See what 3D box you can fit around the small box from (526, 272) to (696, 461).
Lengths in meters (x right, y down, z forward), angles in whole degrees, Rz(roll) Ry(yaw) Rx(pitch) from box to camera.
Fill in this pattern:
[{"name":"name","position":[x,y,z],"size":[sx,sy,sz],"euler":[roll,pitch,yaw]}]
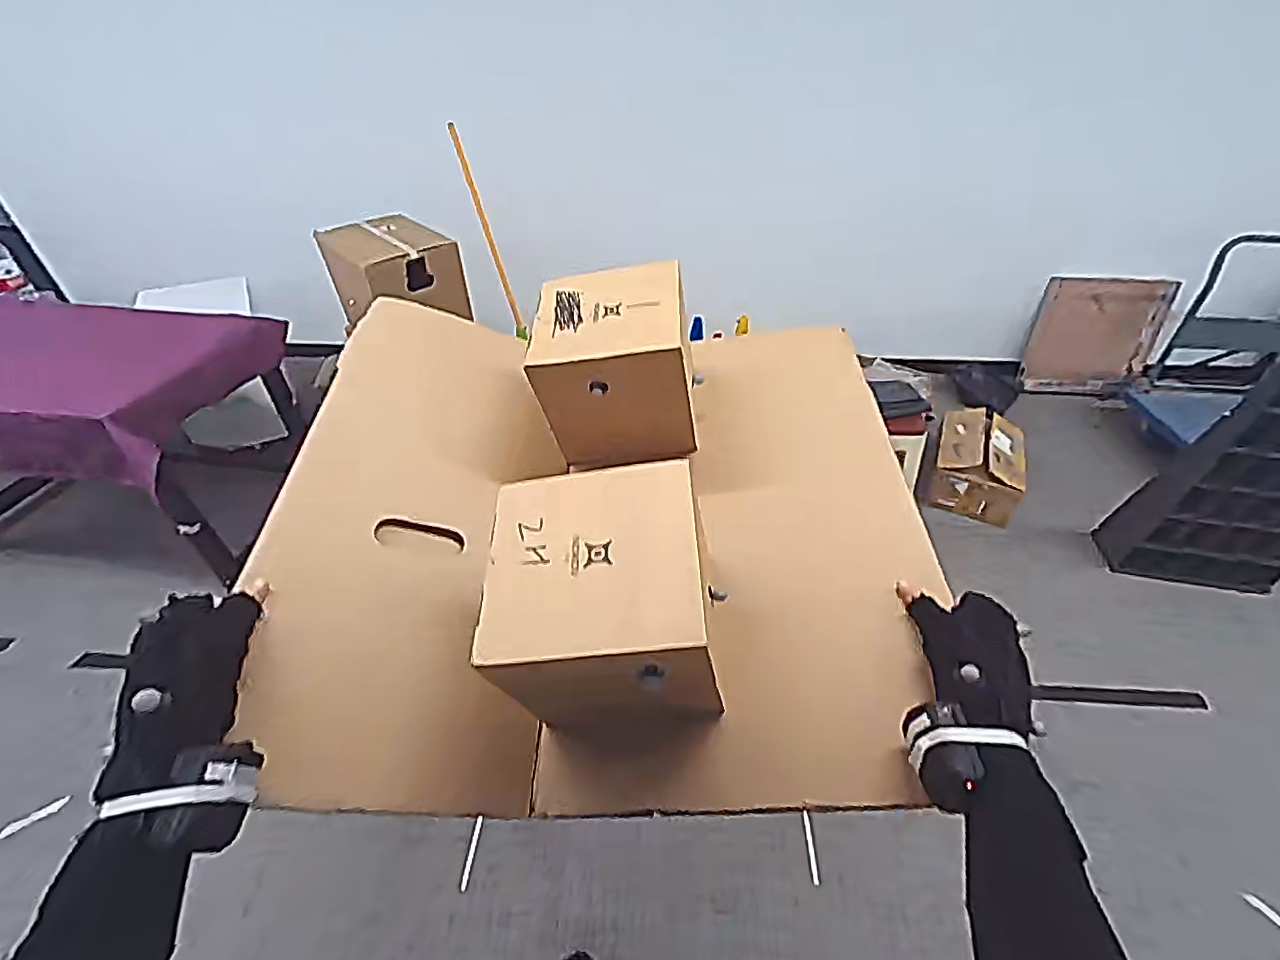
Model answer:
[{"name":"small box","position":[-0.025,-0.138,0.699],"size":[0.179,0.176,0.168],"euler":[-5,52,9]}]

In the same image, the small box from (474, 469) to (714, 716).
[{"name":"small box","position":[-0.025,0.112,0.504],"size":[0.179,0.176,0.168],"euler":[-7,51,9]}]
